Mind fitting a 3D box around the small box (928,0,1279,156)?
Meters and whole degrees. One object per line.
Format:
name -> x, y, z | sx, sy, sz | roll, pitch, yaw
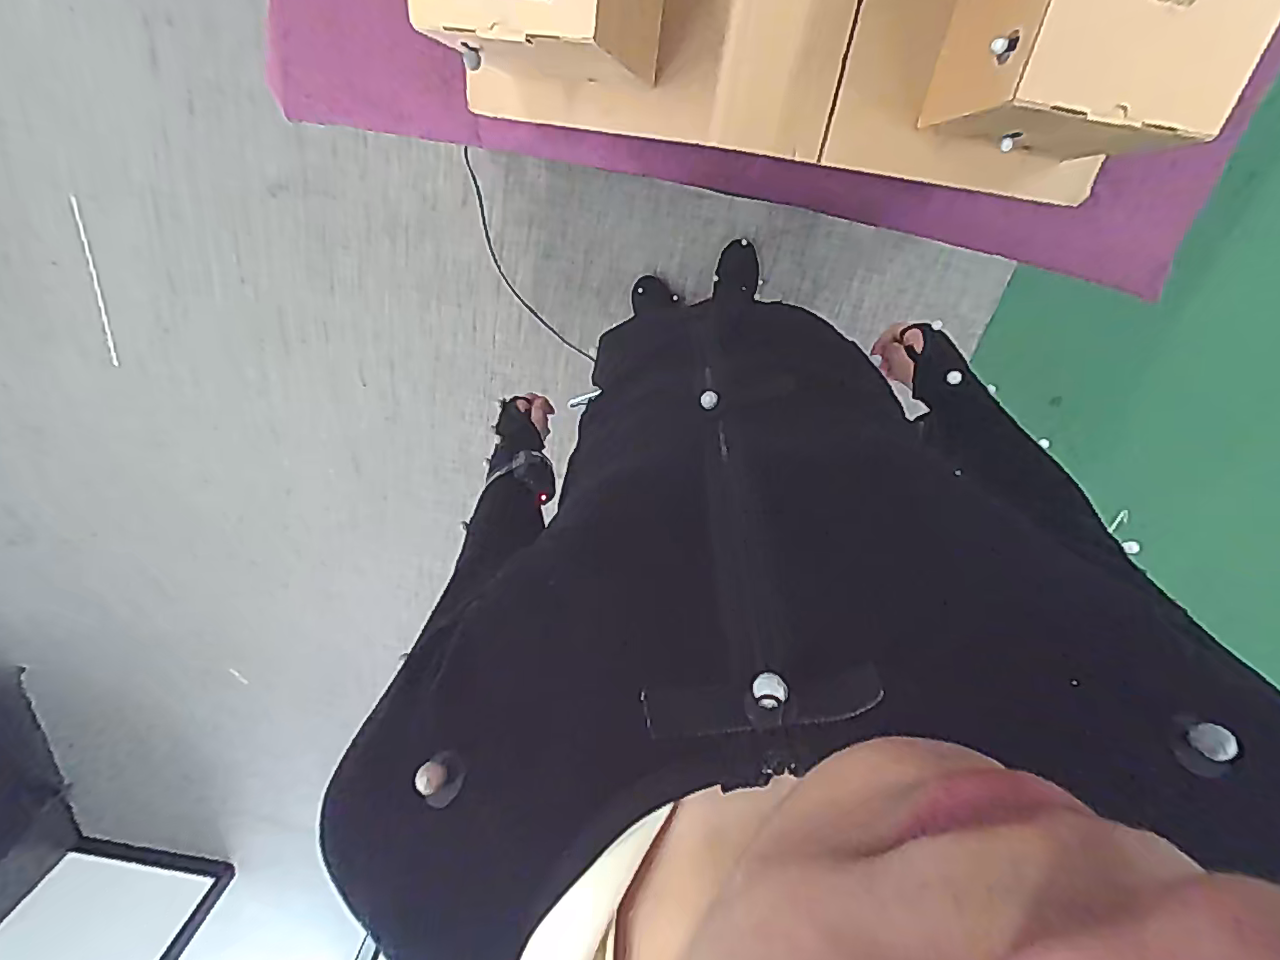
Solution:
small box -> 0.369, -0.380, 0.437 | 0.168, 0.176, 0.179 | 8, 118, -3
